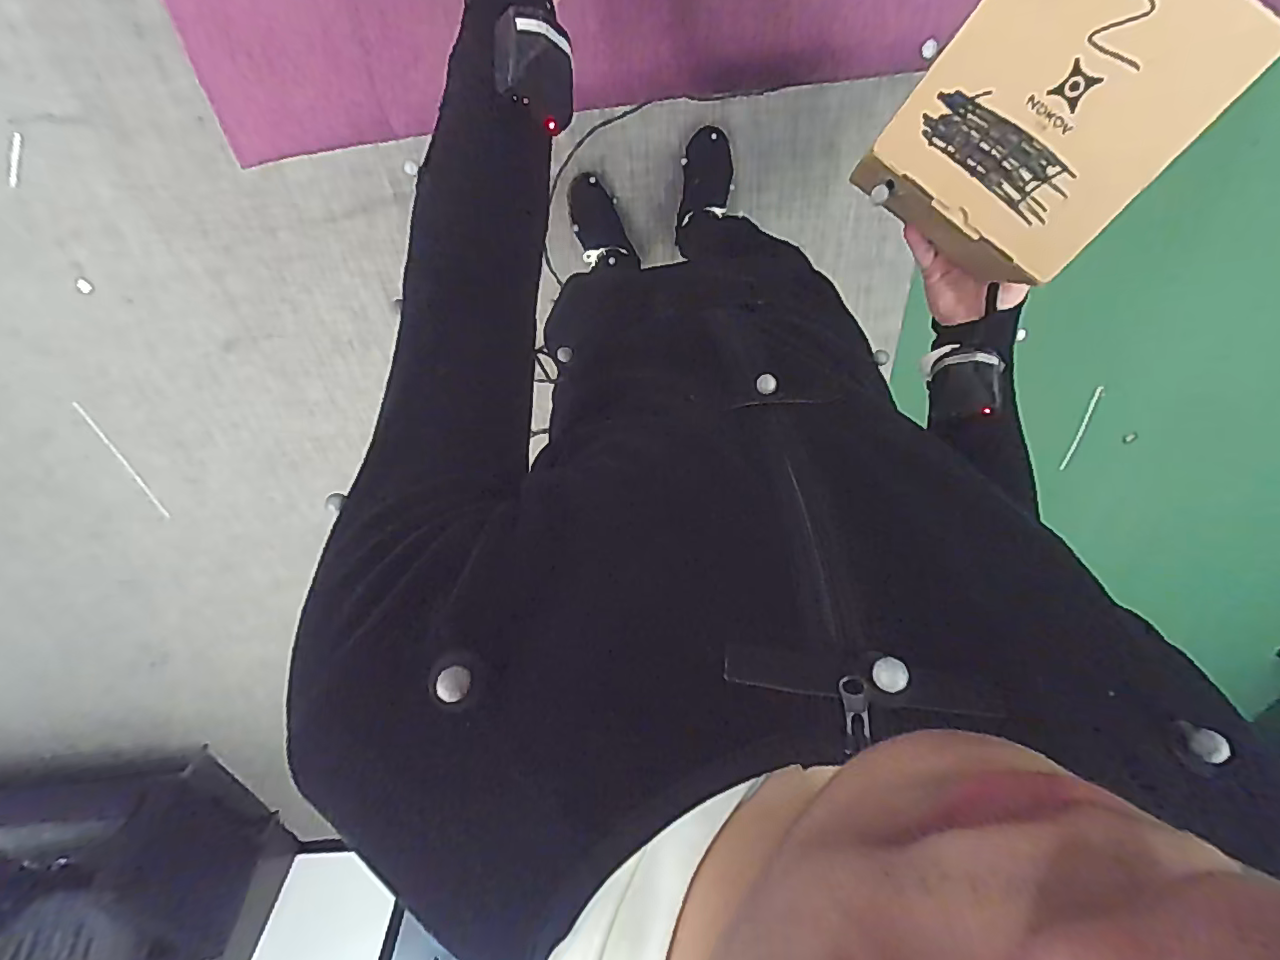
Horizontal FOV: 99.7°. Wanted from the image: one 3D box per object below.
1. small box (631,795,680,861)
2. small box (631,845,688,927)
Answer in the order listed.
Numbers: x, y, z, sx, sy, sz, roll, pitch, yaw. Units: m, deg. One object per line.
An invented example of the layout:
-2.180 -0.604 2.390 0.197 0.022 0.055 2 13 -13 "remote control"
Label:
0.058 1.261 1.941 0.168 0.176 0.179 -3 124 2 "small box"
0.063 1.357 1.808 0.168 0.176 0.179 5 123 -4 "small box"
